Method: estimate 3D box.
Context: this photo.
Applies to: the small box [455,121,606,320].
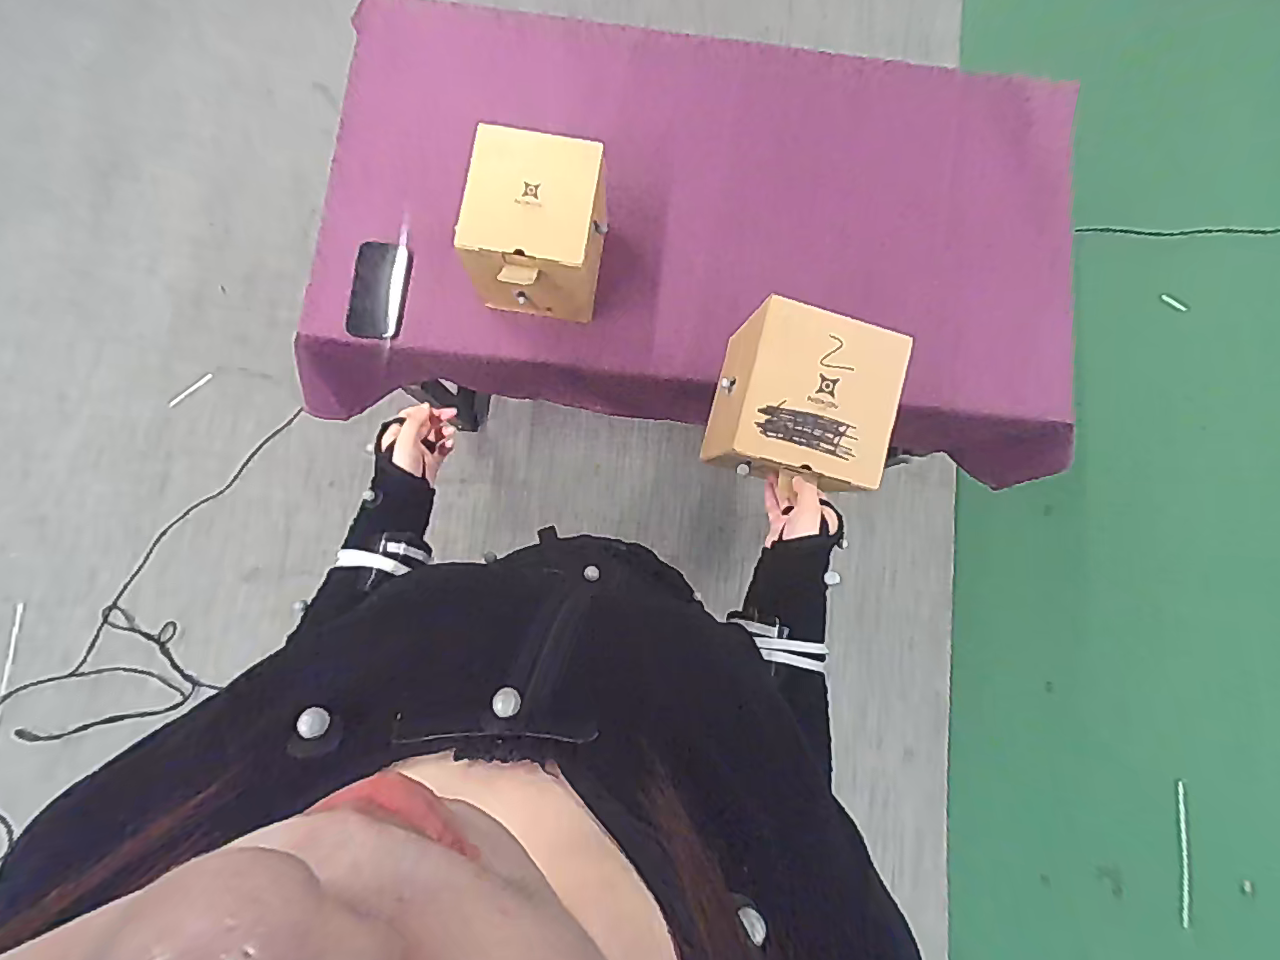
[{"bbox_3d":[-0.144,-0.354,0.766,0.168,0.176,0.179,9,82,-3],"label":"small box"}]
